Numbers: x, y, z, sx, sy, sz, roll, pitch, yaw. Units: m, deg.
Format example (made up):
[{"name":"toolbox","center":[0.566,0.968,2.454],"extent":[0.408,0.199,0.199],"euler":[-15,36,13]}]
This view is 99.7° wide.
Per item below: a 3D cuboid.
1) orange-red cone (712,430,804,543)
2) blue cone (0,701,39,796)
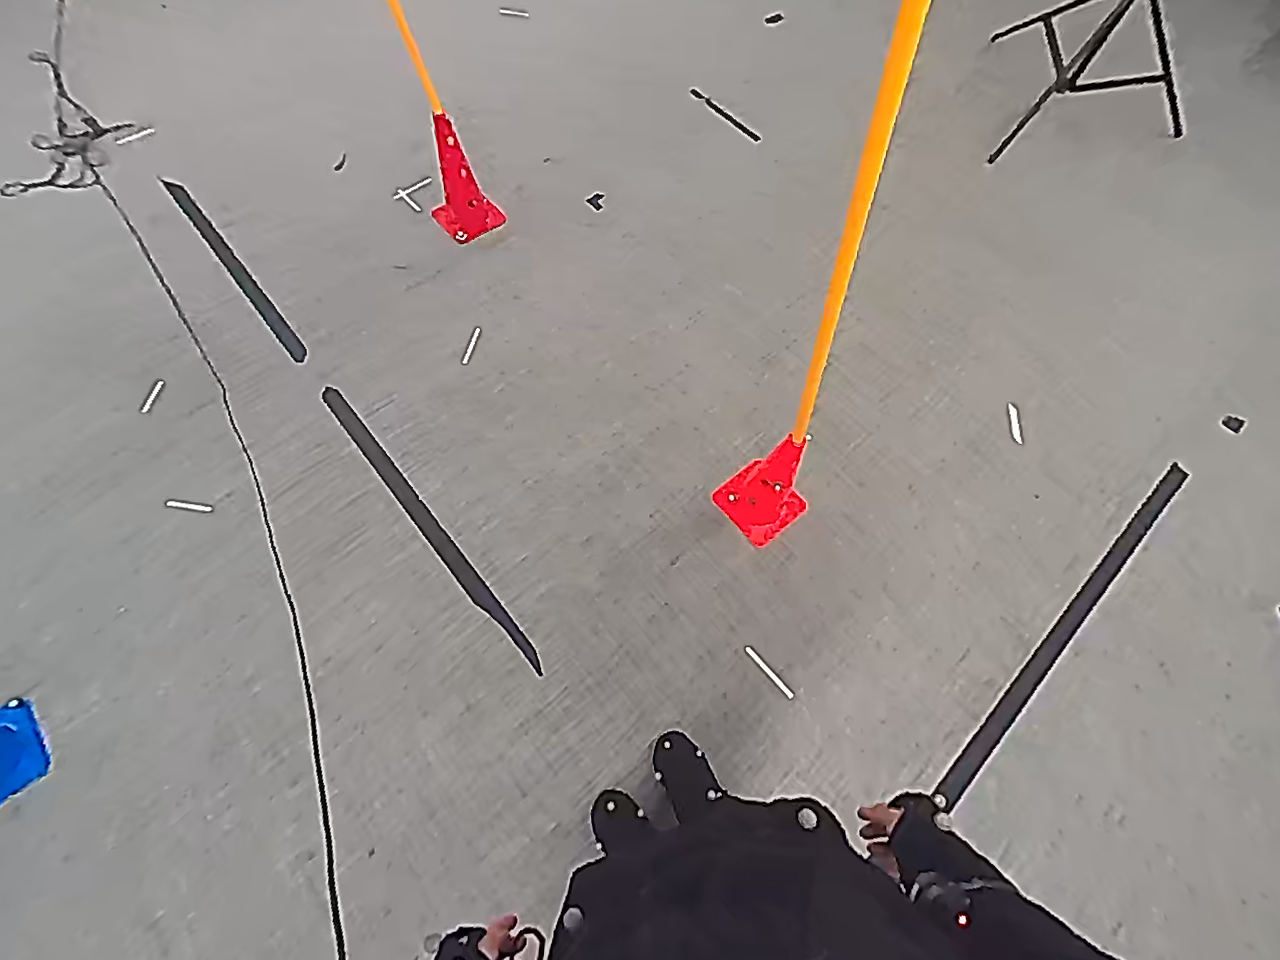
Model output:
[{"name":"orange-red cone","center":[0.329,-0.019,1.316],"extent":[0.198,0.360,0.199],"euler":[-35,72,-16]},{"name":"blue cone","center":[-1.406,0.538,1.014],"extent":[0.193,0.380,0.192],"euler":[-35,71,-17]}]
